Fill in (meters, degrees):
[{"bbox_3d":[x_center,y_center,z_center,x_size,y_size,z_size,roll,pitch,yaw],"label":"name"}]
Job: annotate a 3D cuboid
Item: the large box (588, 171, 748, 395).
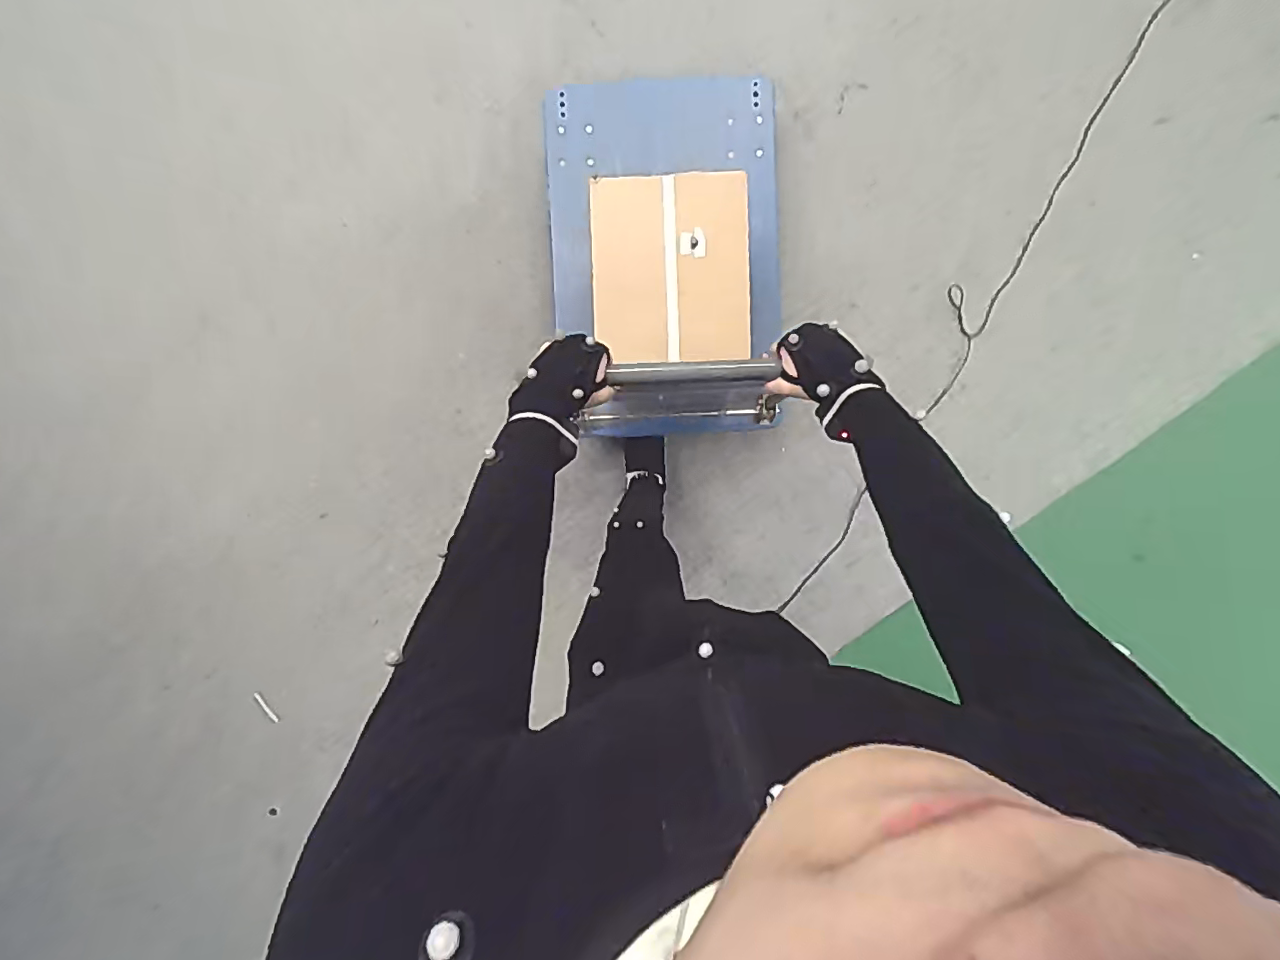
[{"bbox_3d":[0.062,-0.418,1.239,0.320,0.320,0.408,-2,92,1],"label":"large box"}]
